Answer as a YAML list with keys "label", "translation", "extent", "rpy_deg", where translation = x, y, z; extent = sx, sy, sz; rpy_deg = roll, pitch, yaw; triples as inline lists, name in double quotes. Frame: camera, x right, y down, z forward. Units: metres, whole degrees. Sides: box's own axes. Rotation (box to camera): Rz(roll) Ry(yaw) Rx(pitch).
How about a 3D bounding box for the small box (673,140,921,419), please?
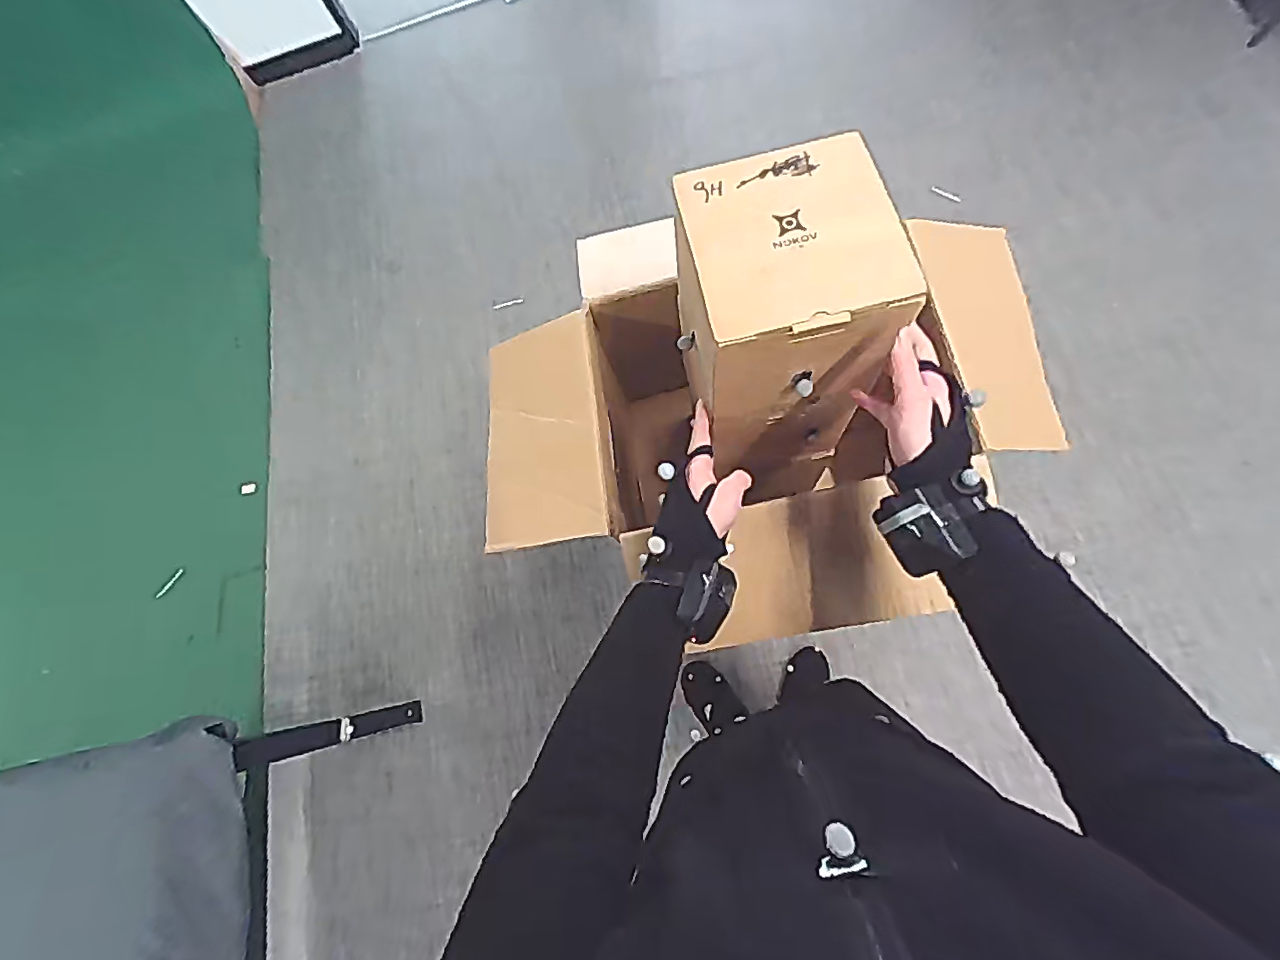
- label: "small box"
  translation: [0.131, -0.171, 0.517]
  extent: [0.168, 0.176, 0.179]
  rpy_deg: [-12, 72, 2]
